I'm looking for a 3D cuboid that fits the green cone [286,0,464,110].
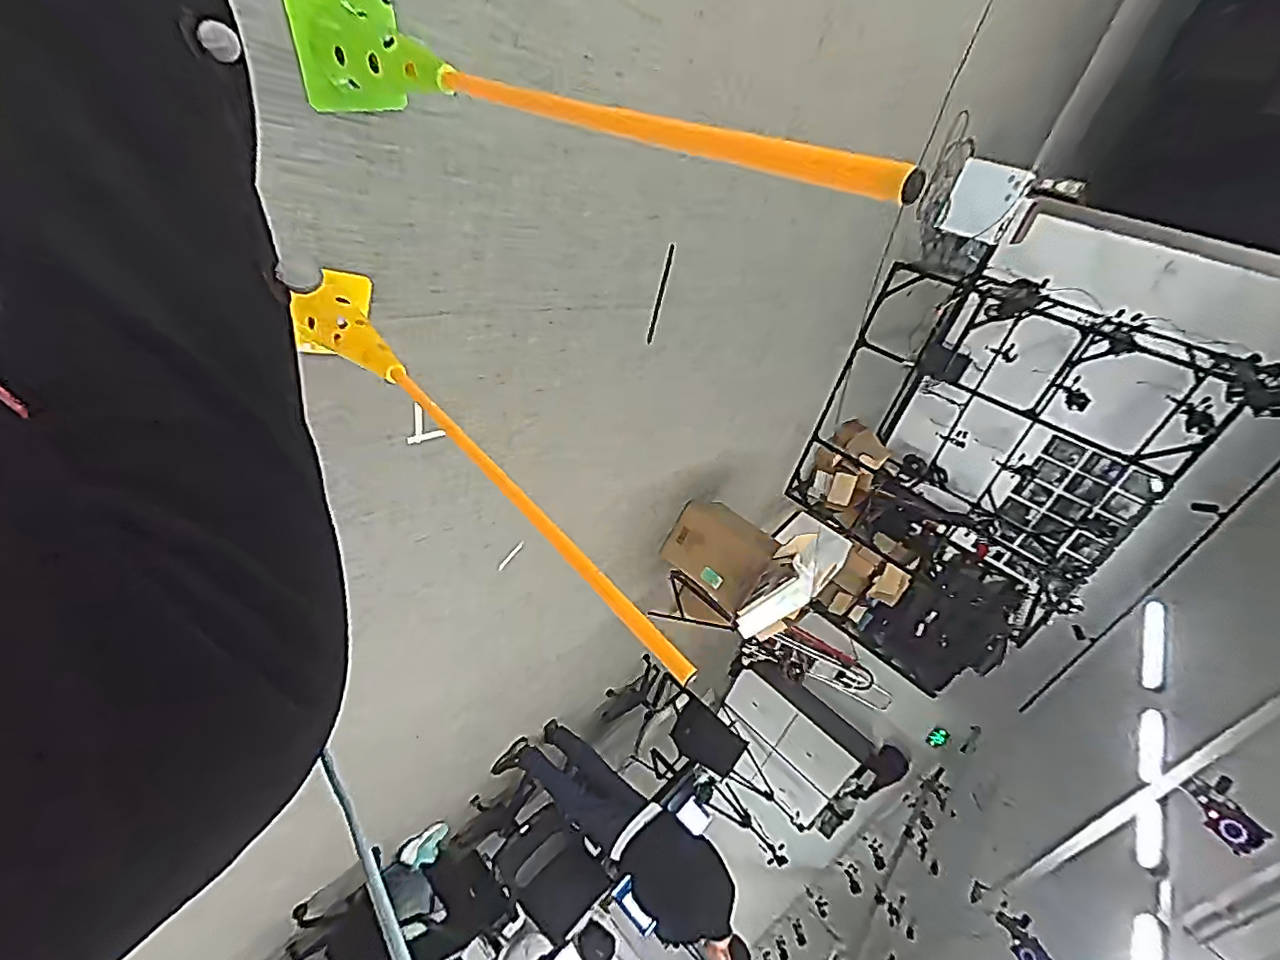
[{"bbox_3d":[-0.431,-0.738,0.954,0.200,0.368,0.202,-31,146,-35],"label":"green cone"}]
